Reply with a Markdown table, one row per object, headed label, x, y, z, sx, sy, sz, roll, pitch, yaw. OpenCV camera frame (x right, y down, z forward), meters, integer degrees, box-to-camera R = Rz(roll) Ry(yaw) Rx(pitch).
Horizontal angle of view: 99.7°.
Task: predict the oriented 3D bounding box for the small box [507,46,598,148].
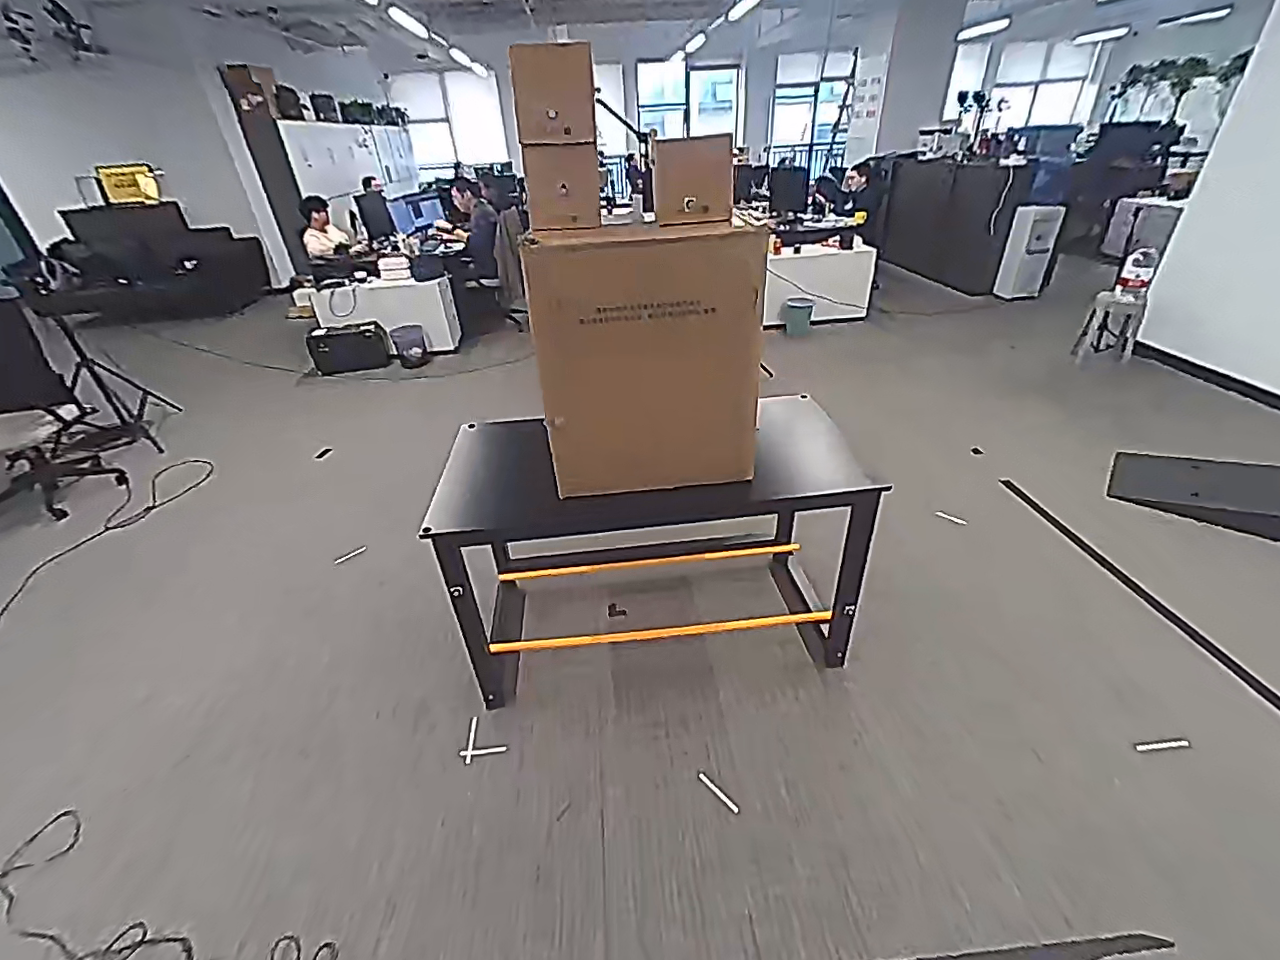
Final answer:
| label | x | y | z | sx | sy | sz | roll | pitch | yaw |
| --- | --- | --- | --- | --- | --- | --- | --- | --- | --- |
| small box | -0.180 | -0.812 | 1.159 | 0.168 | 0.176 | 0.179 | -4 | 33 | -3 |

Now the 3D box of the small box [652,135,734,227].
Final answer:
| label | x | y | z | sx | sy | sz | roll | pitch | yaw |
| --- | --- | --- | --- | --- | --- | --- | --- | --- | --- |
| small box | 0.116 | -0.684 | 1.239 | 0.168 | 0.176 | 0.179 | -6 | 33 | 0 |

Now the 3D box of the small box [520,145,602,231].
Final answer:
| label | x | y | z | sx | sy | sz | roll | pitch | yaw |
| --- | --- | --- | --- | --- | --- | --- | --- | --- | --- |
| small box | -0.178 | -0.681 | 1.261 | 0.168 | 0.176 | 0.179 | -4 | 33 | -4 |
